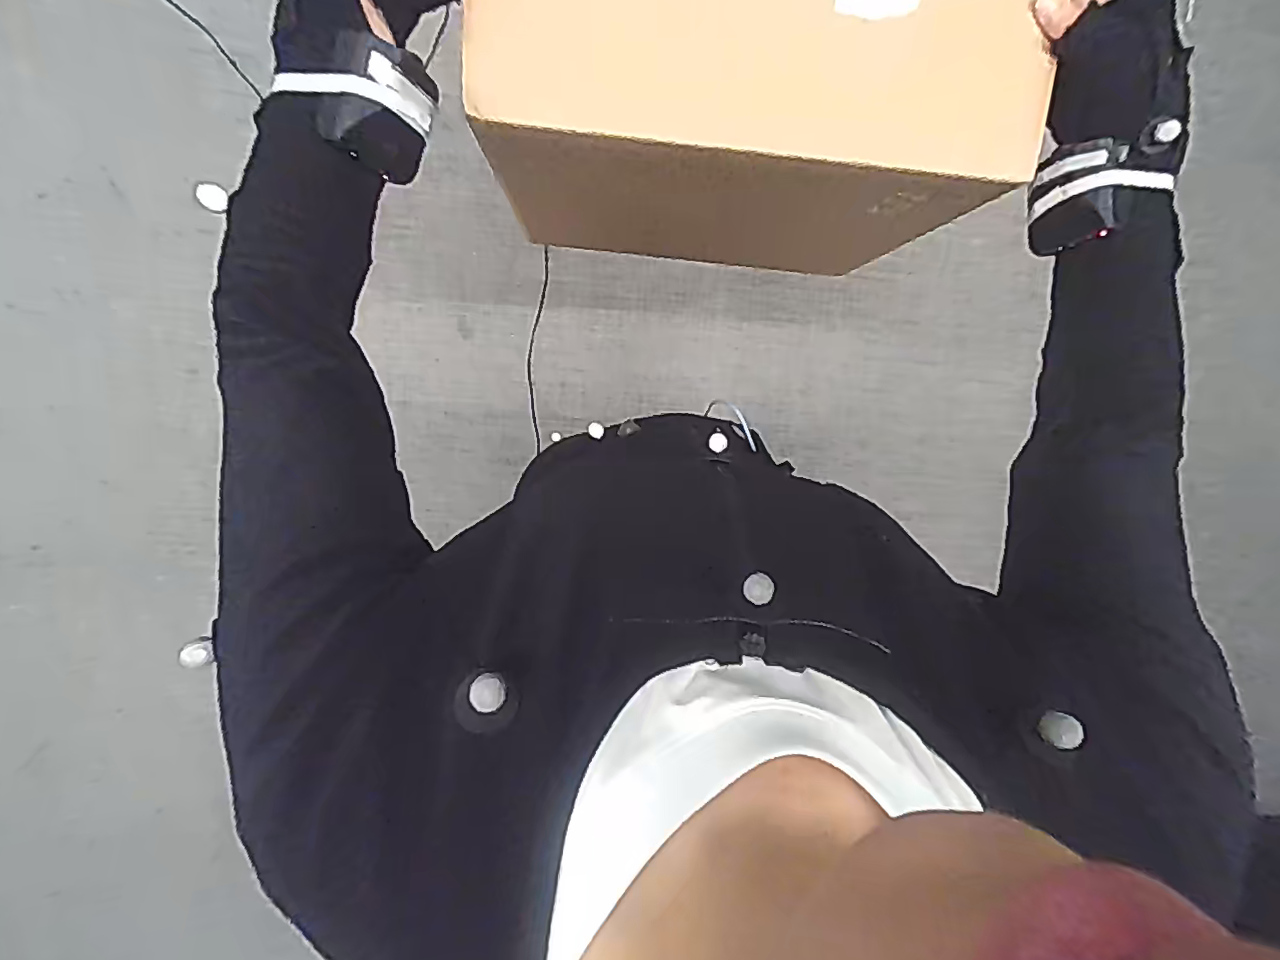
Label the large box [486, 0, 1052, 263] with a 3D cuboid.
[{"bbox_3d":[0.085,-0.412,0.510,0.408,0.320,0.320,3,99,-5],"label":"large box"}]
